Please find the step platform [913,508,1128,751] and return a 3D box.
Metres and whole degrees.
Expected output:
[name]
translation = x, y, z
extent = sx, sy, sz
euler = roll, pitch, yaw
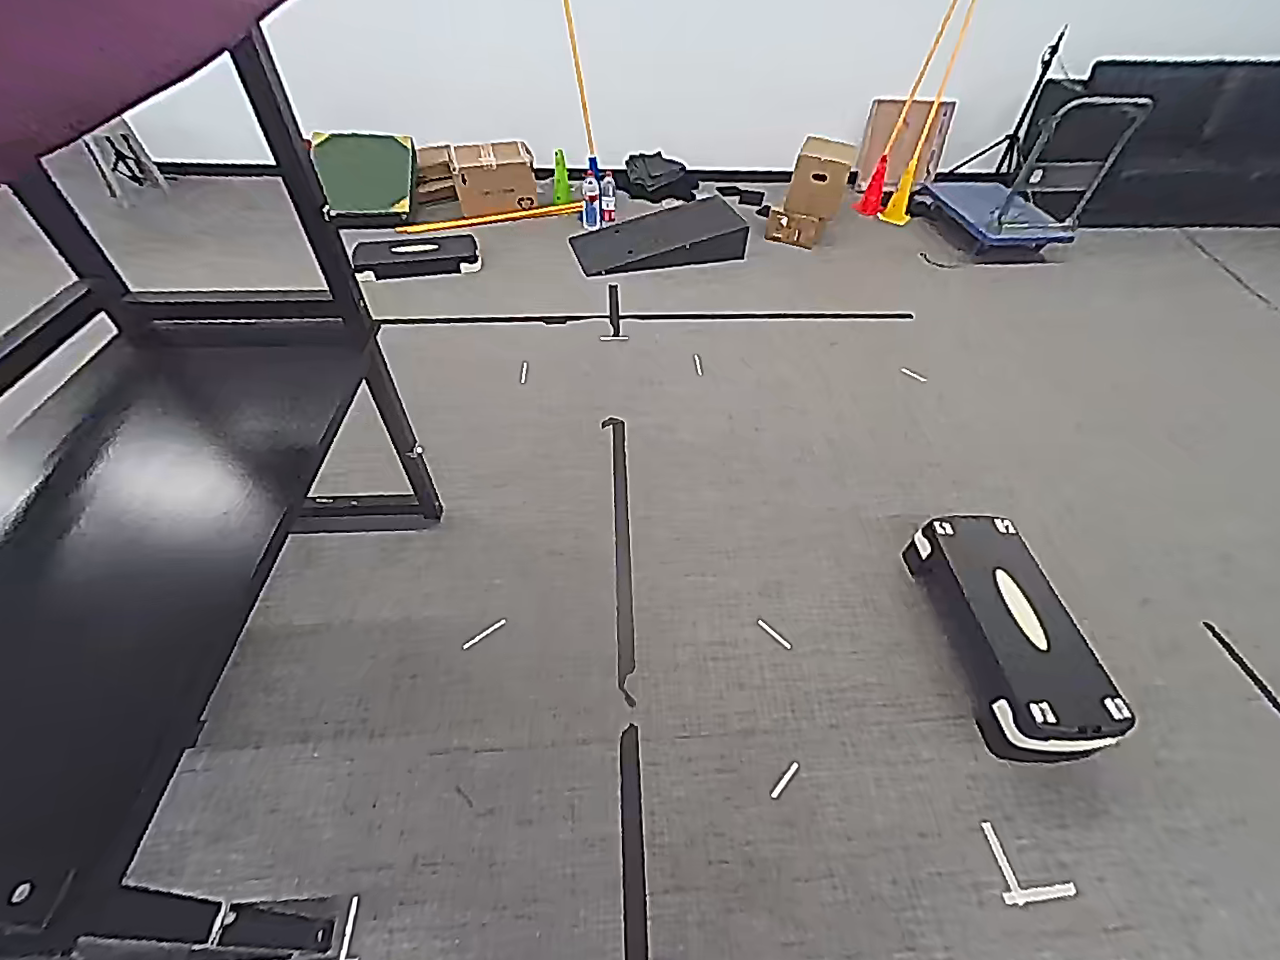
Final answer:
[step platform]
translation = 1.053, 0.389, 1.565
extent = 0.286, 0.204, 0.684
euler = 3, 46, 1
